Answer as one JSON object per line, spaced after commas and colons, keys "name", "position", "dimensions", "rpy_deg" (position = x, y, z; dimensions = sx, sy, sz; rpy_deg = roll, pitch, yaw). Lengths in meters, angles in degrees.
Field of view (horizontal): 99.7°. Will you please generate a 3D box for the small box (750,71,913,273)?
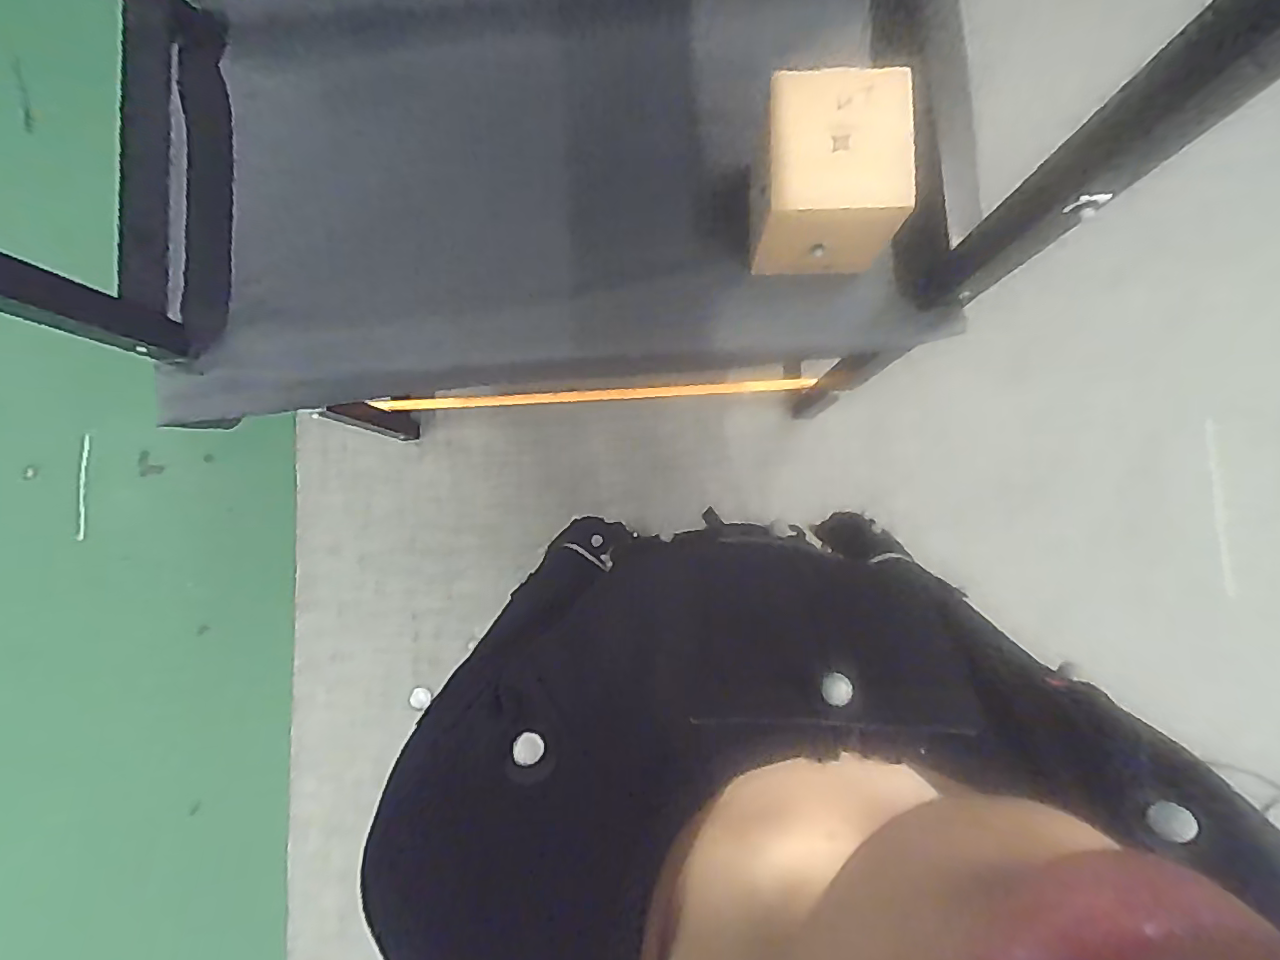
{"name": "small box", "position": [0.241, -0.390, 0.713], "dimensions": [0.168, 0.176, 0.179], "rpy_deg": [1, 85, 3]}
